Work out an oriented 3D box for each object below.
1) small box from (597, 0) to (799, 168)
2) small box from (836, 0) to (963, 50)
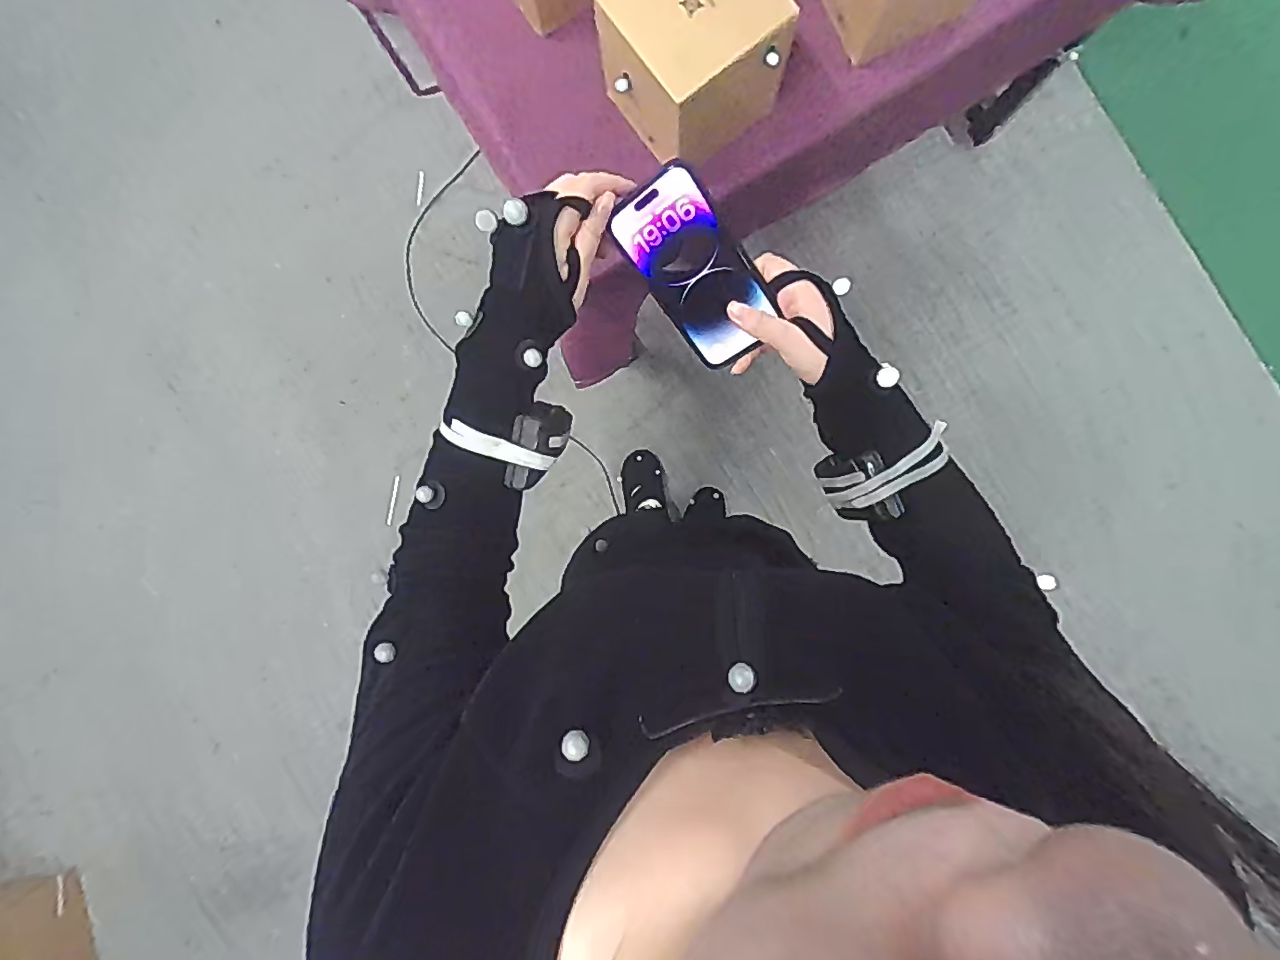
[{"bbox_3d":[0.068,-0.549,0.689,0.179,0.176,0.168,-37,89,1],"label":"small box"},{"bbox_3d":[0.343,-0.699,0.674,0.179,0.176,0.168,-25,90,2],"label":"small box"}]
